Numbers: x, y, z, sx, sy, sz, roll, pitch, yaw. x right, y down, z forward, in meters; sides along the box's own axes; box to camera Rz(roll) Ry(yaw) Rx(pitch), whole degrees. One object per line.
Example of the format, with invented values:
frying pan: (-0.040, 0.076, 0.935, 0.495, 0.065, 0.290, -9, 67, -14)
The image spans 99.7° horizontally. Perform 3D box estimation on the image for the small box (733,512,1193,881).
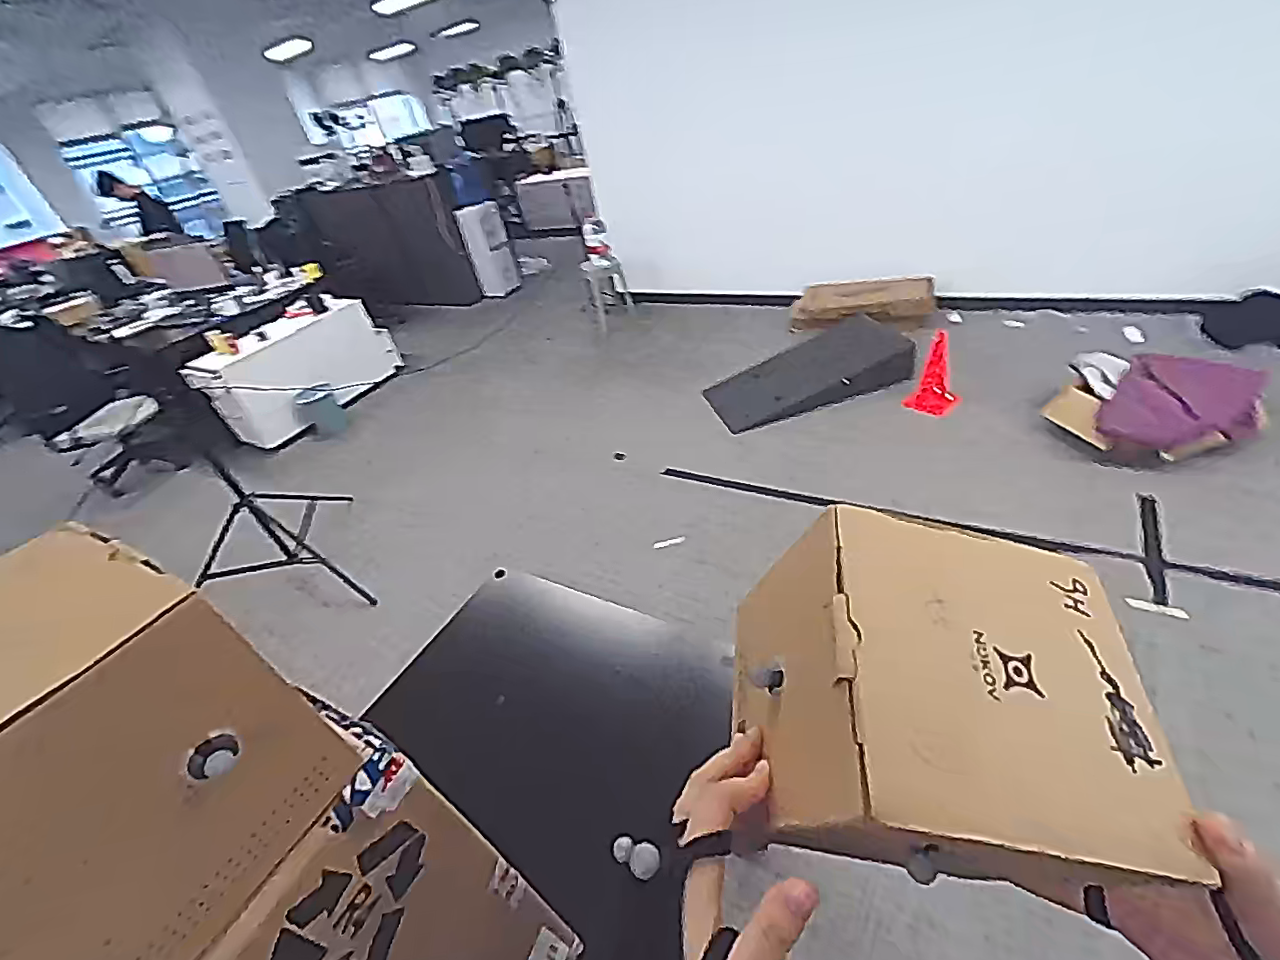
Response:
small box: (0.169, 0.147, 0.355, 0.179, 0.176, 0.168, 13, 54, -4)

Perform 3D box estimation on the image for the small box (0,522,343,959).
small box: (-0.296, 0.153, 0.287, 0.168, 0.176, 0.179, 10, 43, 28)
